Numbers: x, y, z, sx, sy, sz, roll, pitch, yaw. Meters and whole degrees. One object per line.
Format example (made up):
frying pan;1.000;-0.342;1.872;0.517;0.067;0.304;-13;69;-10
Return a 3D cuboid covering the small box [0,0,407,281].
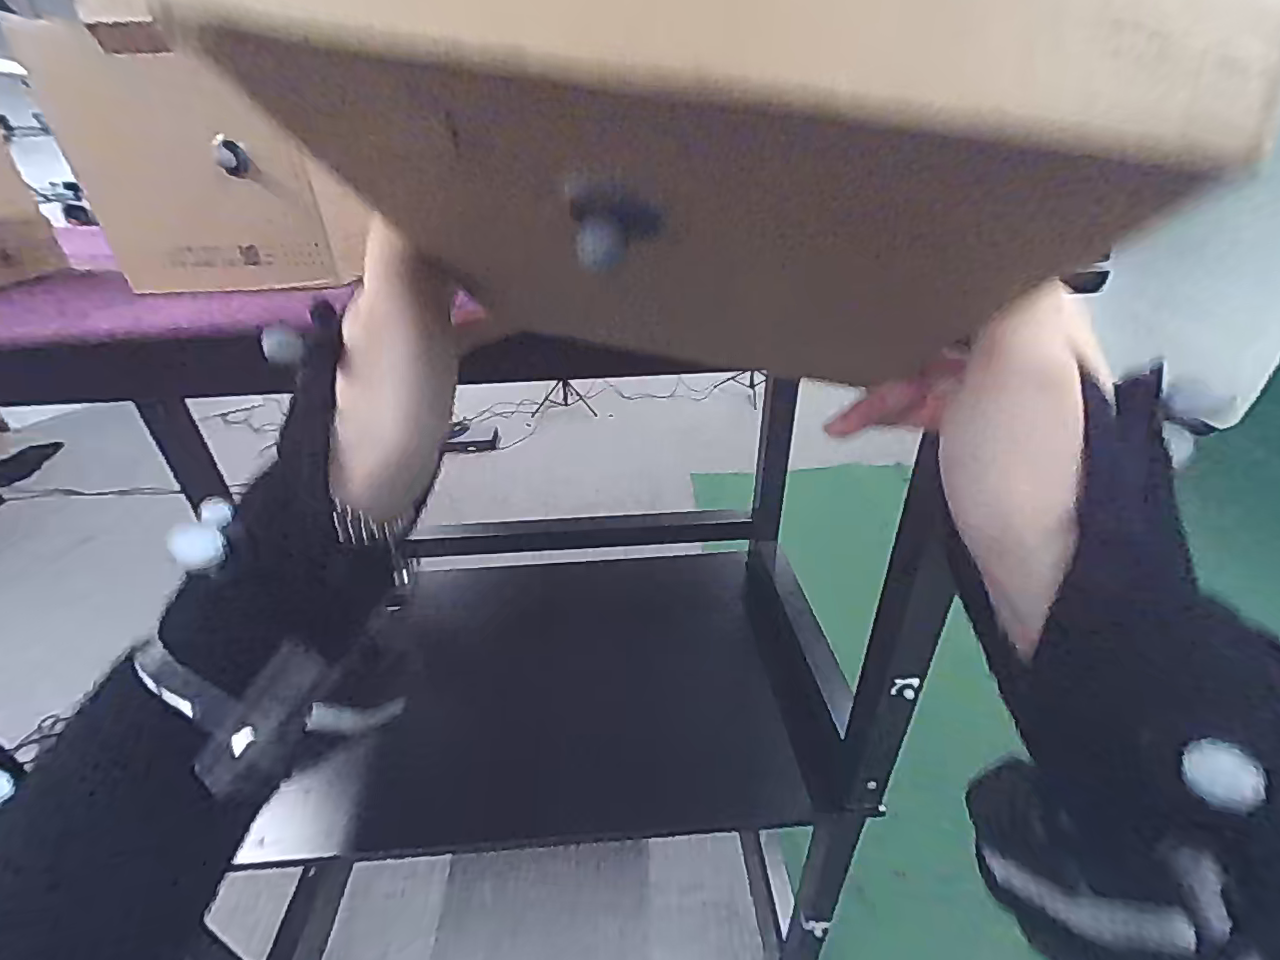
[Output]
small box;-0.313;-0.263;0.441;0.168;0.176;0.179;-1;31;0
